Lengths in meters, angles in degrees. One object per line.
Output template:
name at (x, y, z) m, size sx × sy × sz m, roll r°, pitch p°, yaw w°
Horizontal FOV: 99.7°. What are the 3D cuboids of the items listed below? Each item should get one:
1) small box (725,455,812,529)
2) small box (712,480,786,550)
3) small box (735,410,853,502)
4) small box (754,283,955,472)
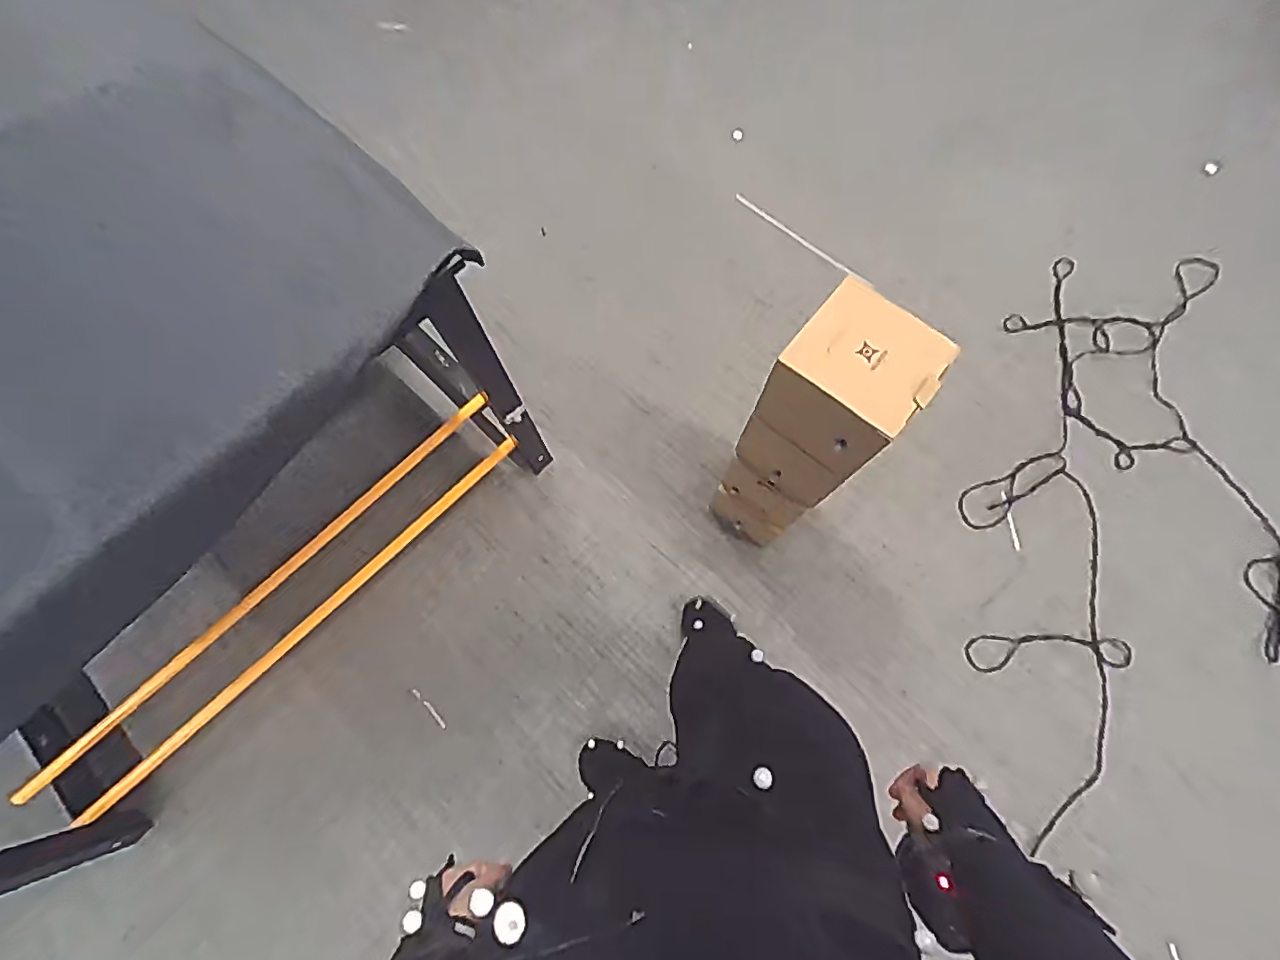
small box at (0.285, -0.025, 1.074) m, size 0.168 × 0.176 × 0.179 m, roll 37°, pitch 75°, yaw 11°
small box at (0.278, 0.034, 1.227) m, size 0.168 × 0.176 × 0.179 m, roll 36°, pitch 76°, yaw 12°
small box at (0.285, -0.080, 0.920) m, size 0.179 × 0.176 × 0.168 m, roll 38°, pitch 76°, yaw 11°
small box at (0.288, -0.130, 0.765) m, size 0.179 × 0.176 × 0.168 m, roll 38°, pitch 76°, yaw 12°
